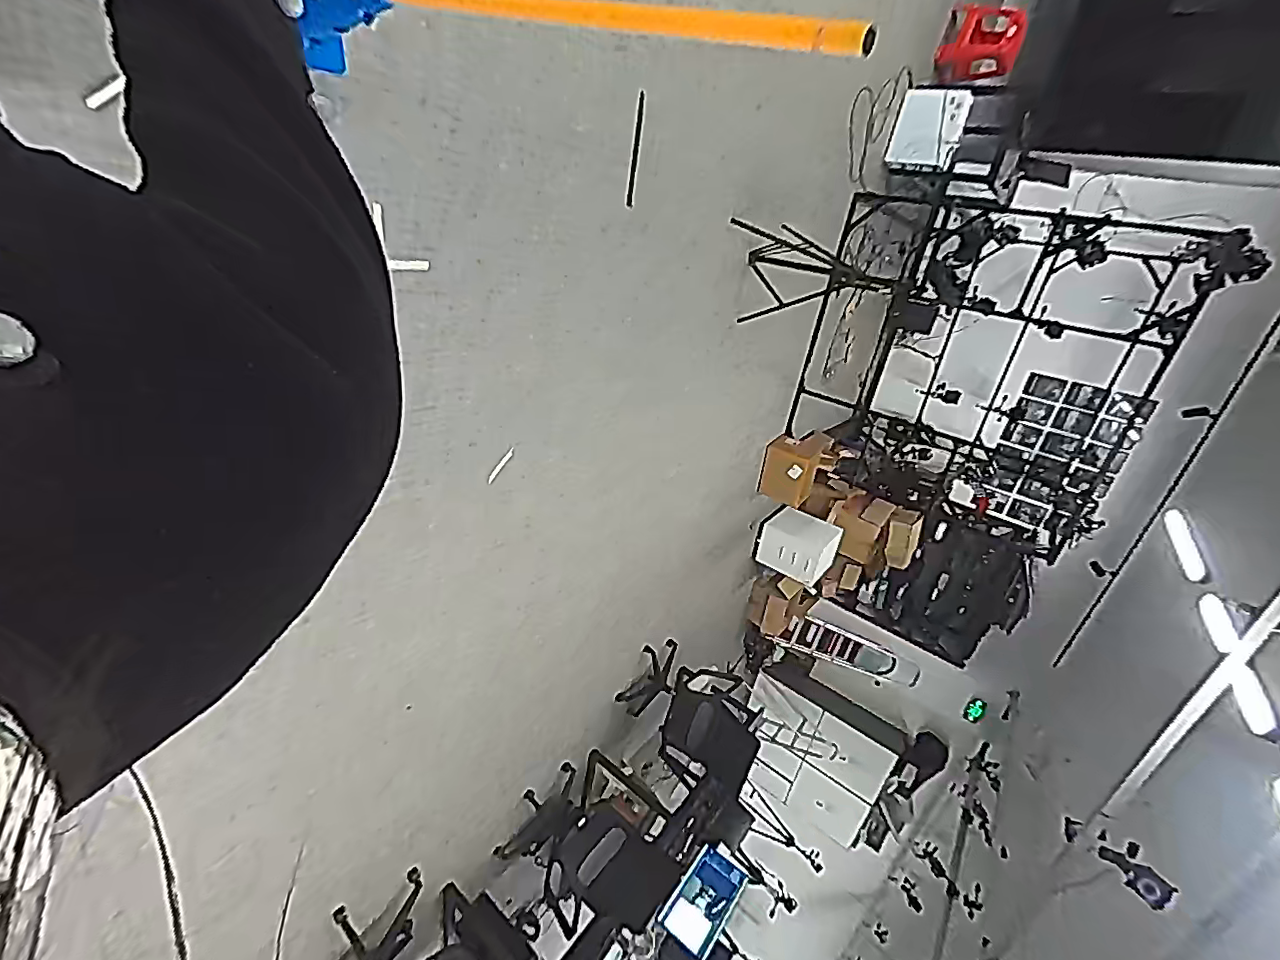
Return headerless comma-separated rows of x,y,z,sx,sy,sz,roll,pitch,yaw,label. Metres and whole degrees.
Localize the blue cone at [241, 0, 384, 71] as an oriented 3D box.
-0.566,-0.886,0.995,0.193,0.380,0.192,-27,132,-47,blue cone
